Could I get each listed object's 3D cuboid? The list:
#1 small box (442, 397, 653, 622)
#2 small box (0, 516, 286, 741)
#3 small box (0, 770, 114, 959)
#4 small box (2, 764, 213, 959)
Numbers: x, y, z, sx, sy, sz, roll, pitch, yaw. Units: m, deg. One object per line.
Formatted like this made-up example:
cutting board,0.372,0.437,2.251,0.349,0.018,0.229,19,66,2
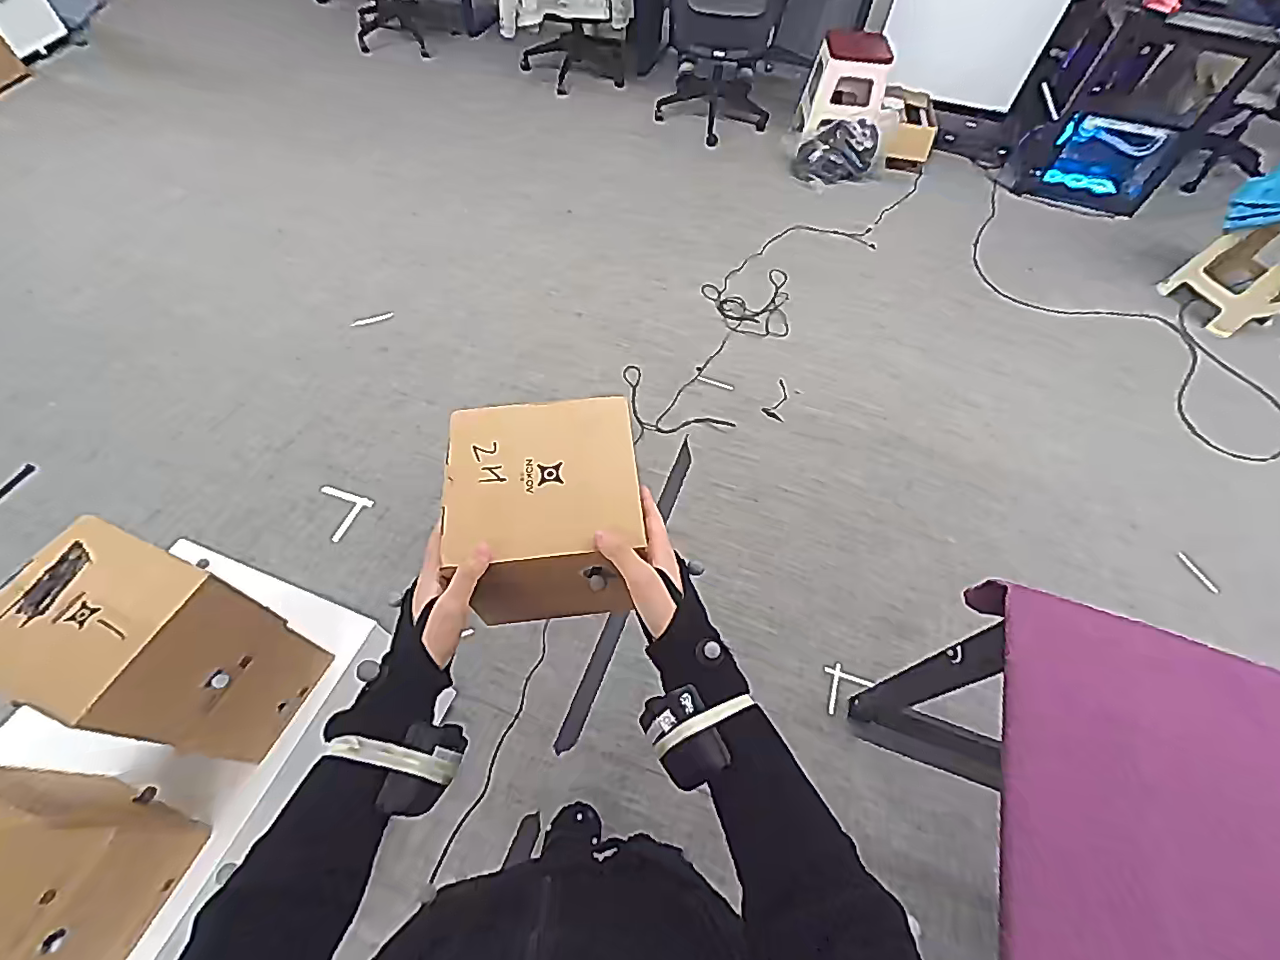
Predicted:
small box,-0.085,0.036,0.554,0.179,0.176,0.168,-6,59,-3
small box,-0.556,0.172,0.605,0.179,0.176,0.168,21,60,9
small box,-0.652,0.365,0.480,0.179,0.176,0.168,18,58,9
small box,-0.661,0.452,0.616,0.179,0.176,0.168,19,59,10
